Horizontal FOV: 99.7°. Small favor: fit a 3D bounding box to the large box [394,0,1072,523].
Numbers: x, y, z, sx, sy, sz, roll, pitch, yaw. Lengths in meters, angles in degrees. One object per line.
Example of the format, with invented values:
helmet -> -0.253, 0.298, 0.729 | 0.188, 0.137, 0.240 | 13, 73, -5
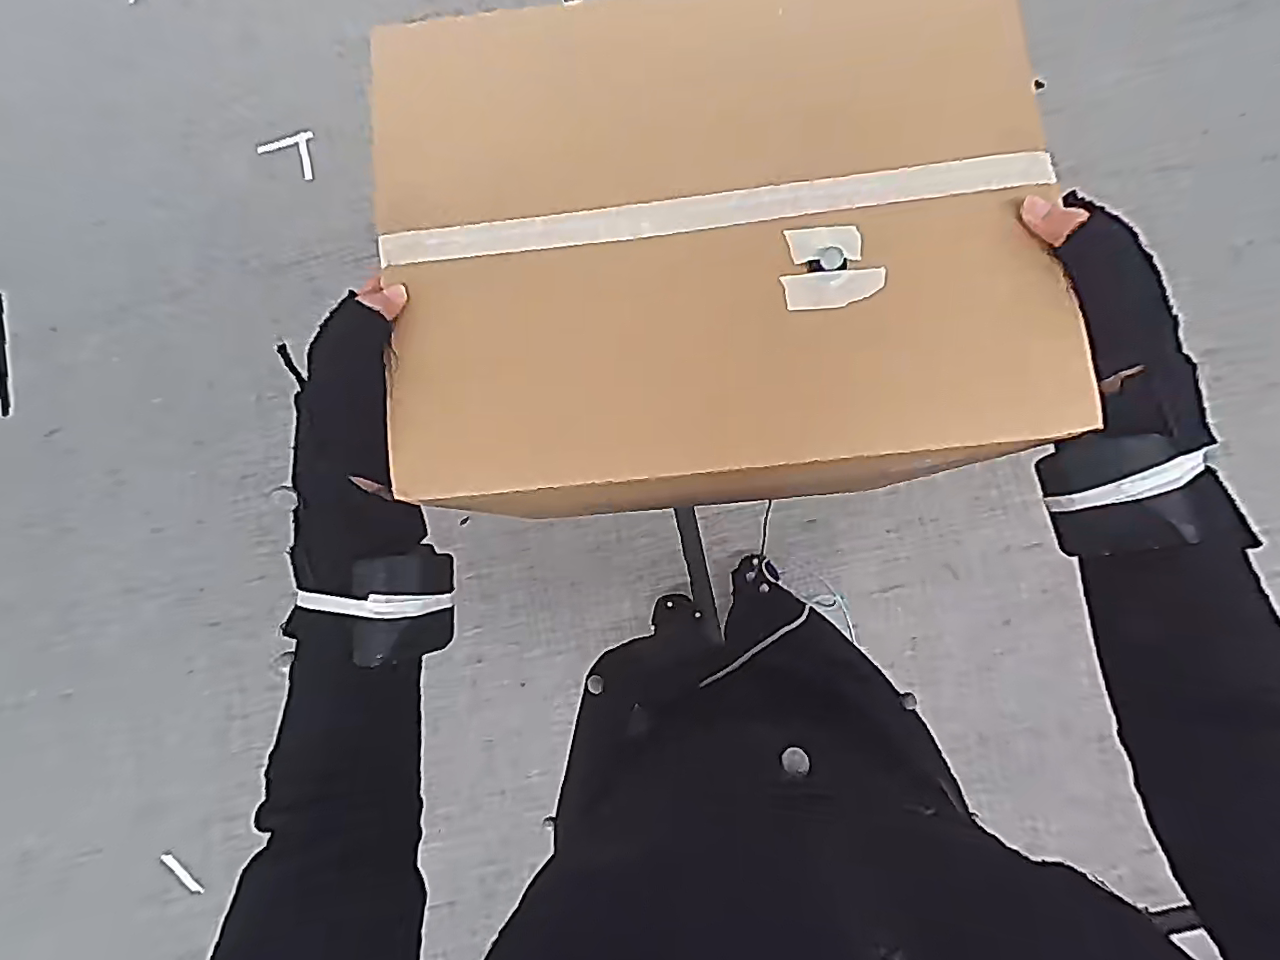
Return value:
large box -> 0.050, -0.140, 0.491 | 0.408, 0.320, 0.320 | -6, 84, 2
